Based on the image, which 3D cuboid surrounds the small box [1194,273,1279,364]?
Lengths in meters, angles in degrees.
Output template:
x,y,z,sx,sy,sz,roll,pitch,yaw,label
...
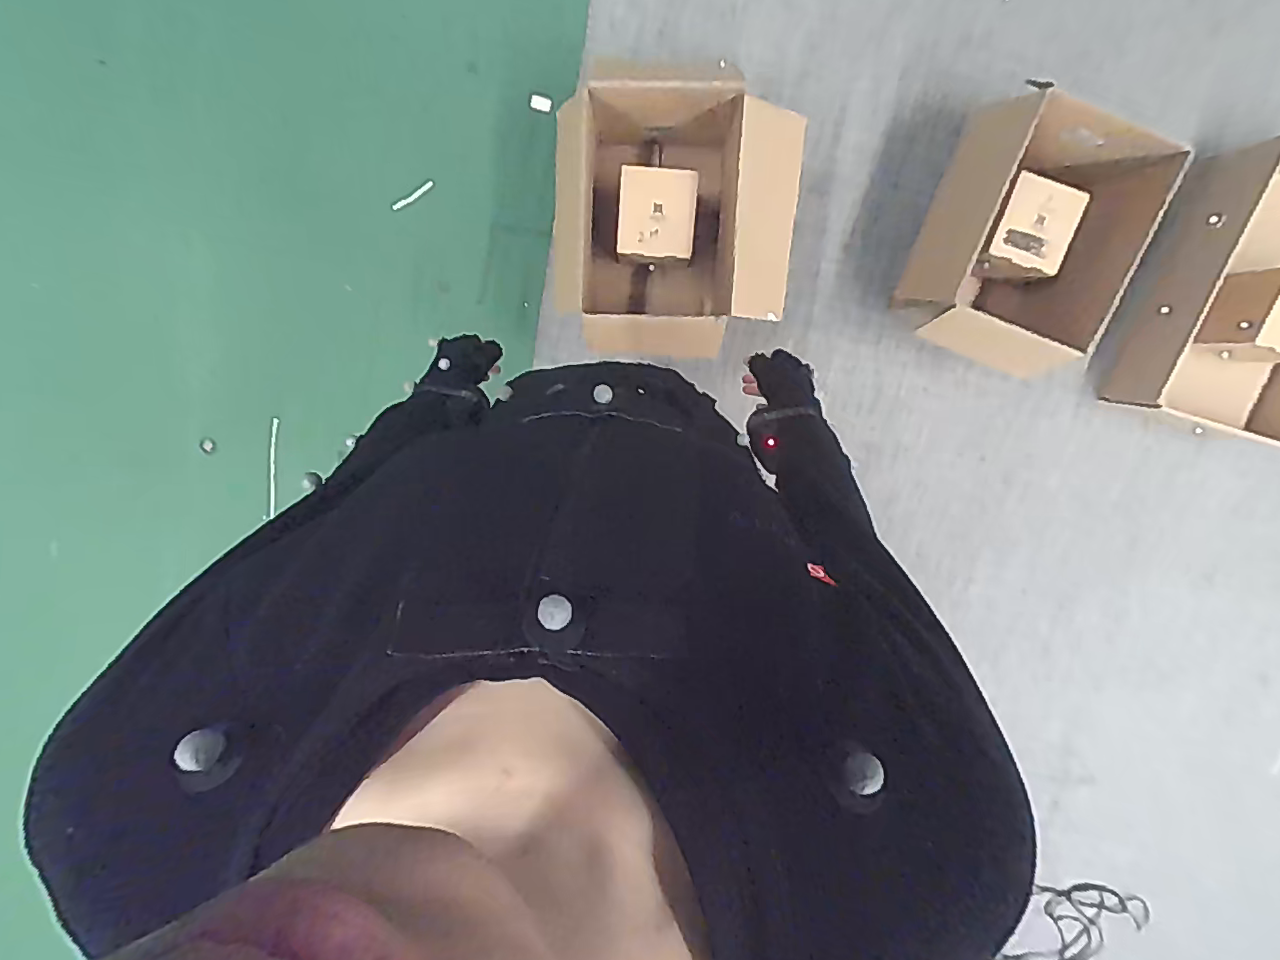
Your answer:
x,y,z,sx,sy,sz,roll,pitch,yaw,label
1.473,-0.376,1.259,0.168,0.176,0.179,15,103,-4,small box
